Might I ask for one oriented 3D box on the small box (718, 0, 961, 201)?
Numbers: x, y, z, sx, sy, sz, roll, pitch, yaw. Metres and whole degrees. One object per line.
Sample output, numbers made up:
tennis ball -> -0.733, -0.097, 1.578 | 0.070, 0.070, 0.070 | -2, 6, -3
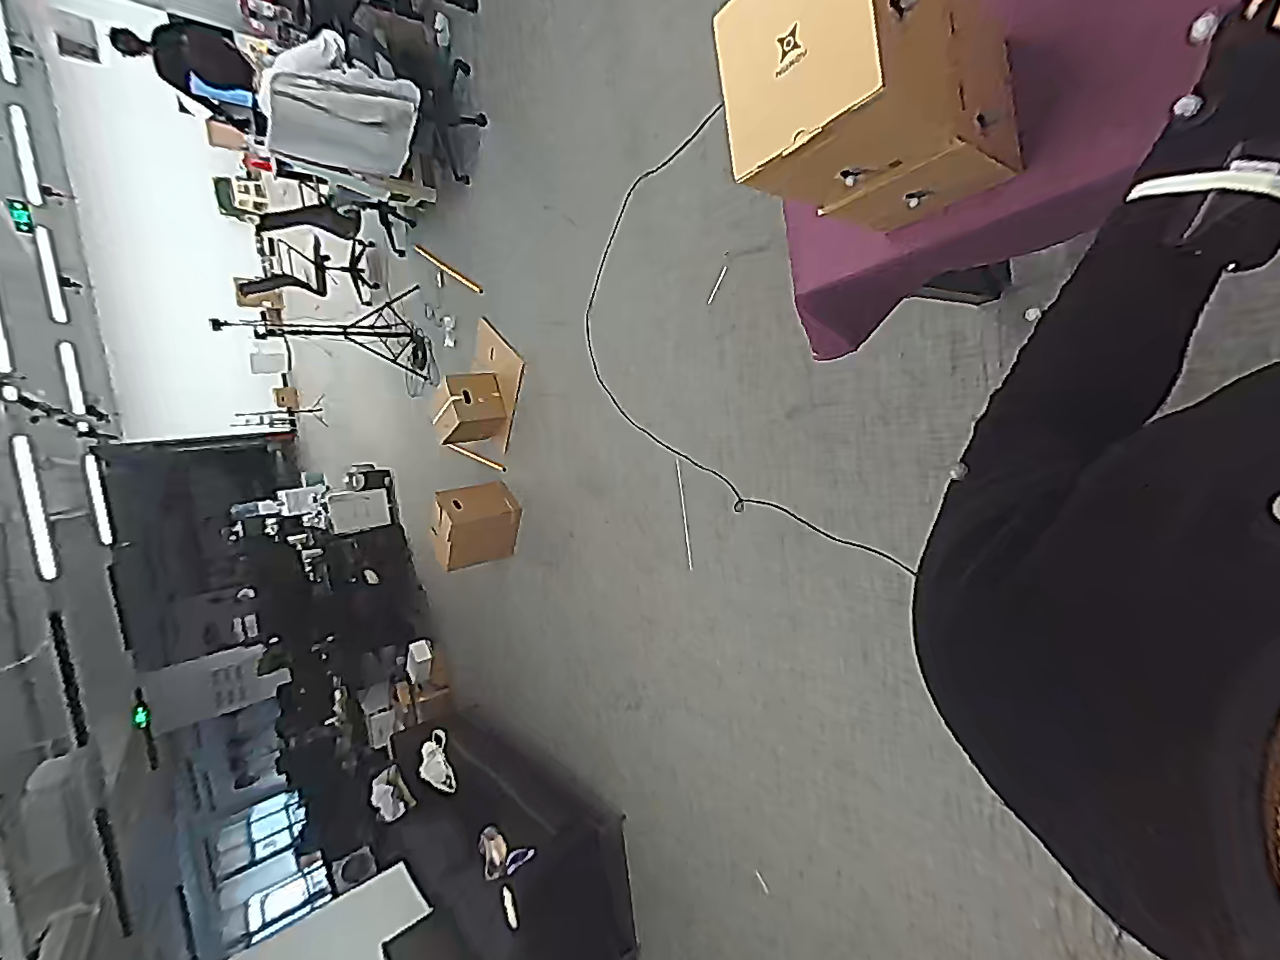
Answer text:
small box -> 0.206, -0.420, 0.559 | 0.168, 0.176, 0.179 | -5, 95, 51
